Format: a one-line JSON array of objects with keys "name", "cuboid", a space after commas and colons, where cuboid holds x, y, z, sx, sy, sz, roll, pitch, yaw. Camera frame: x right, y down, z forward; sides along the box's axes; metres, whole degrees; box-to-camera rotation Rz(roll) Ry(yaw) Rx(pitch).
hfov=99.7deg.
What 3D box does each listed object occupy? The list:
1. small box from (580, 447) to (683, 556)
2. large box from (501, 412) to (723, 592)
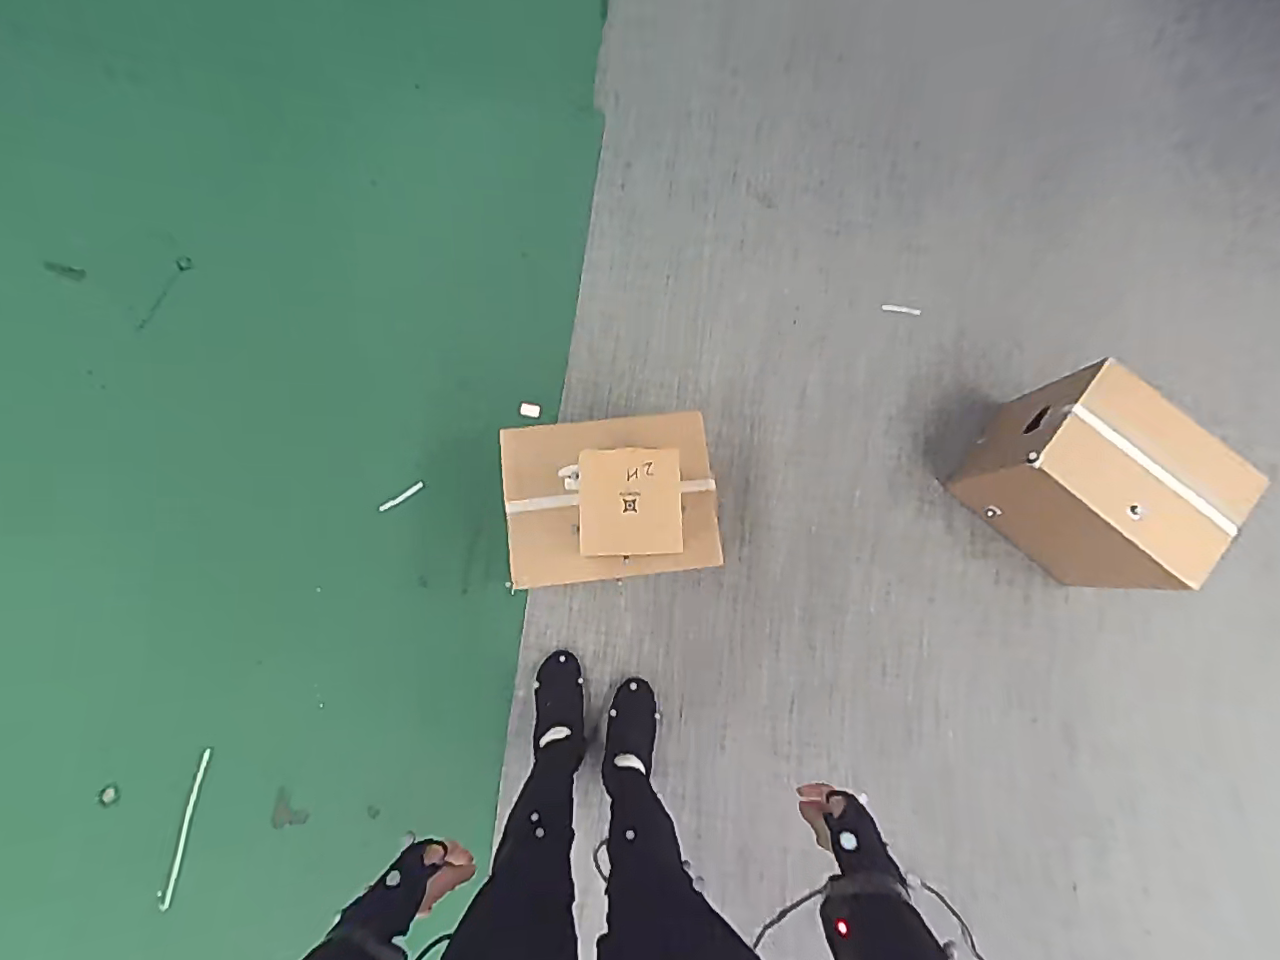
[{"name": "small box", "cuboid": [-0.018, 0.044, 0.941, 0.168, 0.176, 0.179, 0, 80, -5]}, {"name": "large box", "cuboid": [-0.061, 0.062, 1.187, 0.408, 0.320, 0.320, -6, 79, -3]}]
